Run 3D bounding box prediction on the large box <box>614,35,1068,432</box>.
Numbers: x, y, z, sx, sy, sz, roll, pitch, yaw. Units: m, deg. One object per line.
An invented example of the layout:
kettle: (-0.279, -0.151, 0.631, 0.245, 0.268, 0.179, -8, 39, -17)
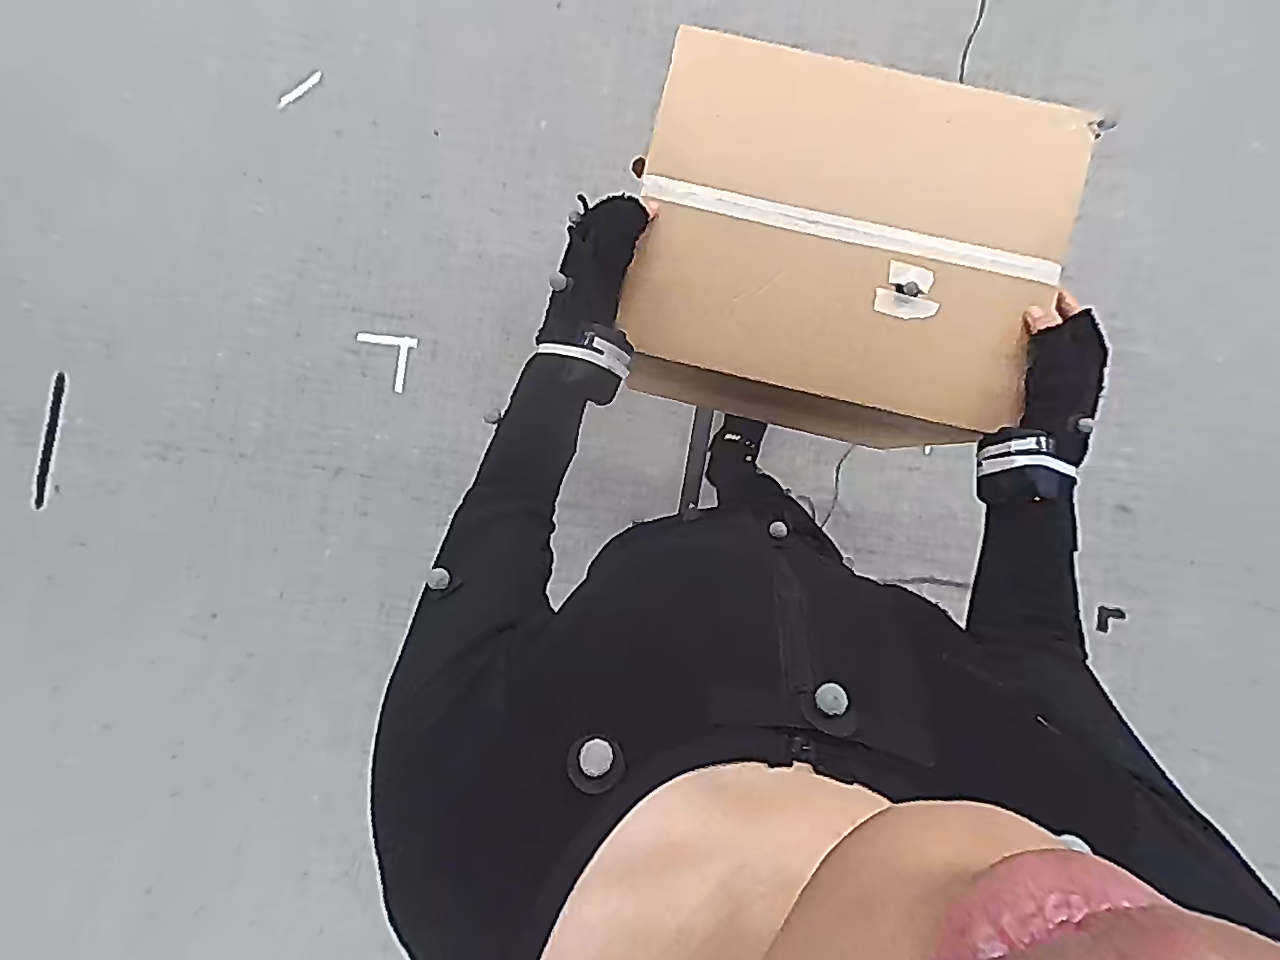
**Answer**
large box: (0.198, -0.258, 0.685, 0.408, 0.320, 0.320, 13, 93, 1)
